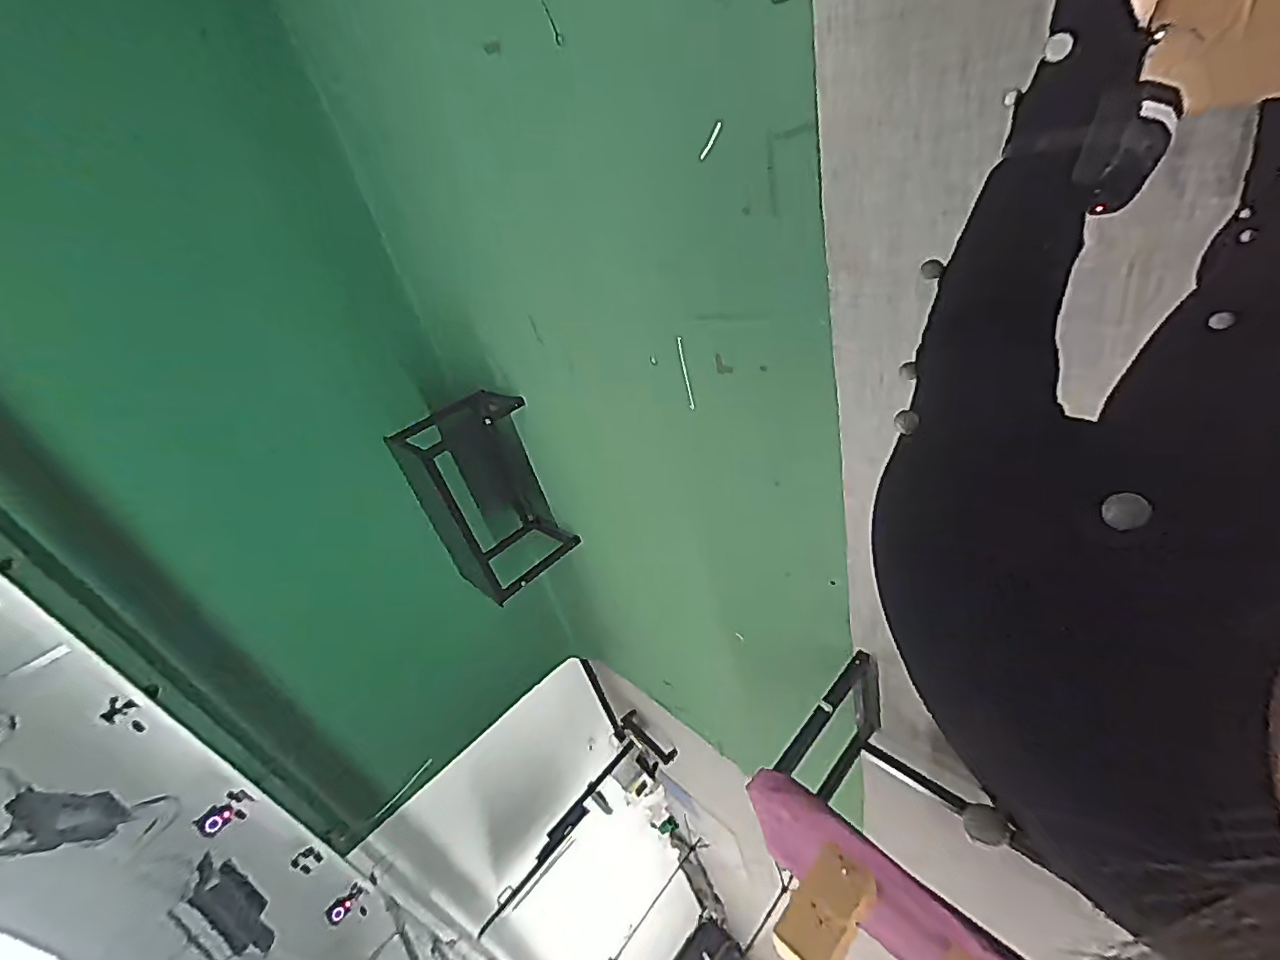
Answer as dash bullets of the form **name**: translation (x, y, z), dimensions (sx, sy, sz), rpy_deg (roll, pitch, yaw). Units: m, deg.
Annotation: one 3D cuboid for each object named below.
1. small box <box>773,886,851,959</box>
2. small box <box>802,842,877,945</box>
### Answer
- **small box**: translation (0.533, 1.412, 1.660), dimensions (0.168, 0.176, 0.179), rpy_deg (19, 136, 44)
- **small box**: translation (0.645, 1.322, 1.737), dimensions (0.168, 0.176, 0.179), rpy_deg (19, 136, 44)
